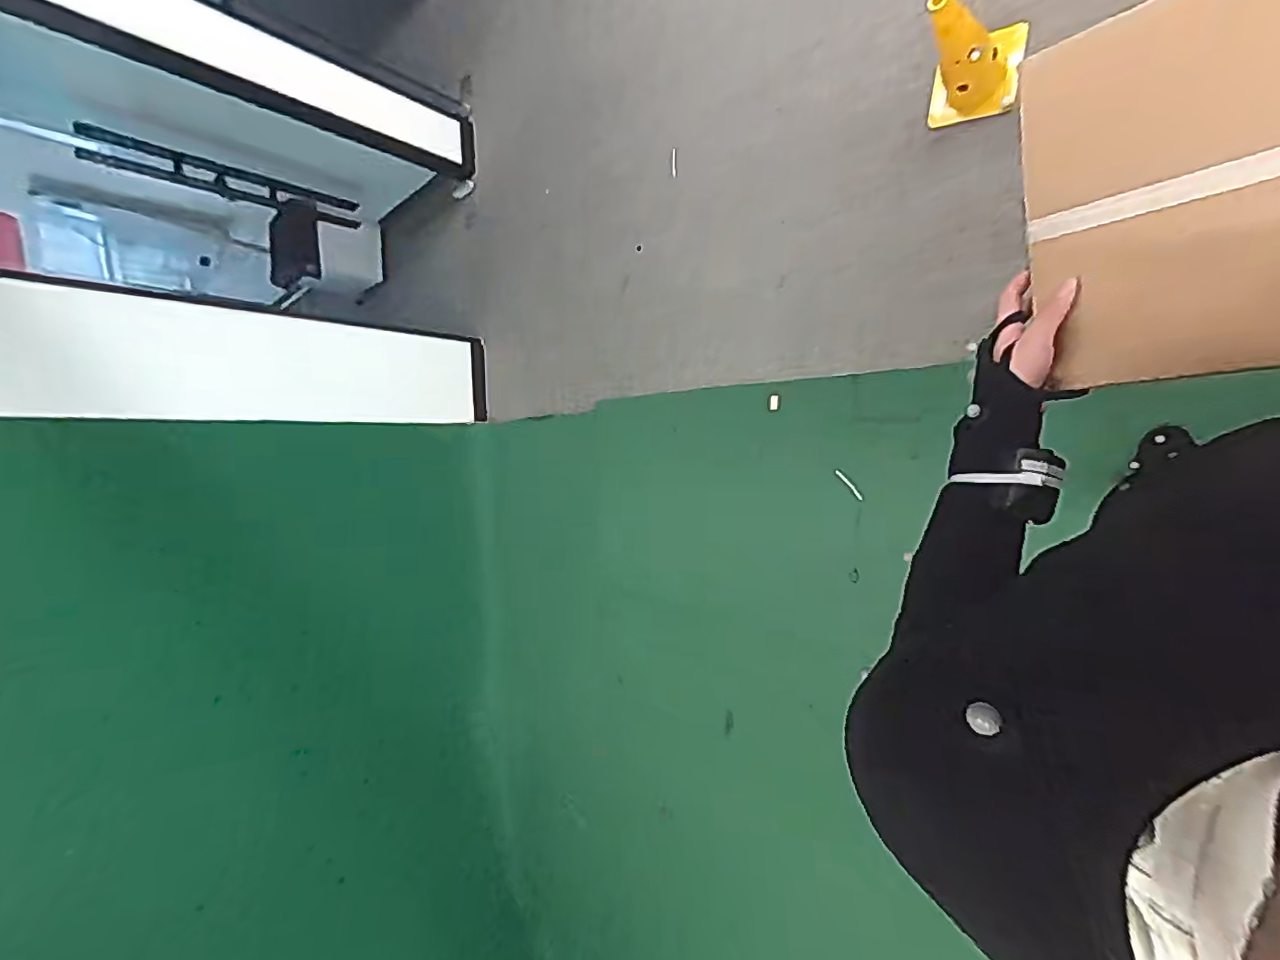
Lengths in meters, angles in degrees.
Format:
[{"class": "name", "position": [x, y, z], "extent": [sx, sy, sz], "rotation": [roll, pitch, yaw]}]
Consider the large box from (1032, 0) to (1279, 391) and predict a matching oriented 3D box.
[{"class": "large box", "position": [0.638, -0.272, 0.498], "extent": [0.408, 0.320, 0.320], "rotation": [-3, 99, 44]}]
